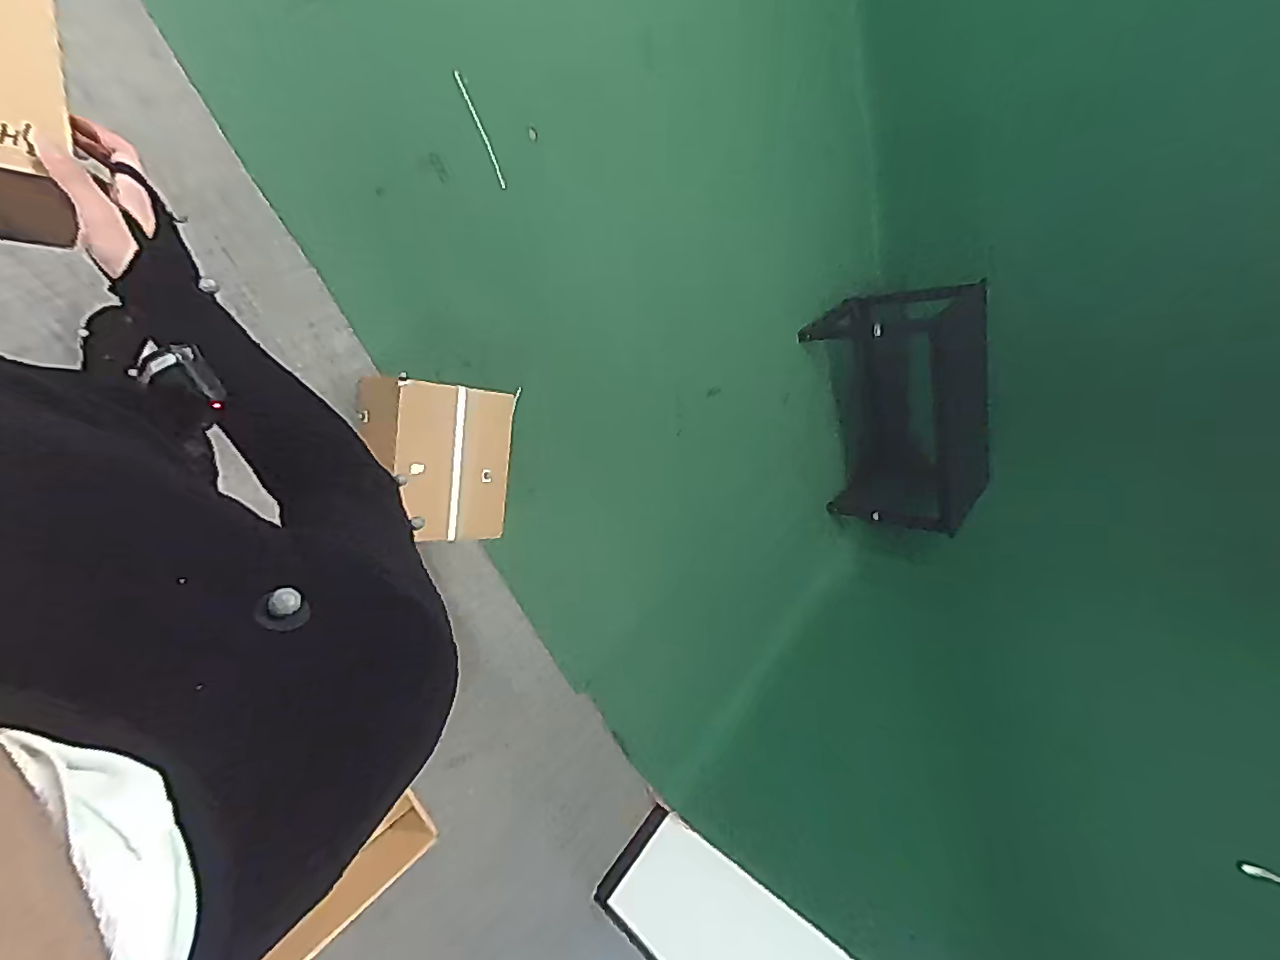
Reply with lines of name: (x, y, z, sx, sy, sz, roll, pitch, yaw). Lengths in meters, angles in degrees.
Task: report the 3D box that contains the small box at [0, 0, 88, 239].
small box: (-0.577, -0.325, 0.438, 0.168, 0.176, 0.179, -8, 95, -46)
